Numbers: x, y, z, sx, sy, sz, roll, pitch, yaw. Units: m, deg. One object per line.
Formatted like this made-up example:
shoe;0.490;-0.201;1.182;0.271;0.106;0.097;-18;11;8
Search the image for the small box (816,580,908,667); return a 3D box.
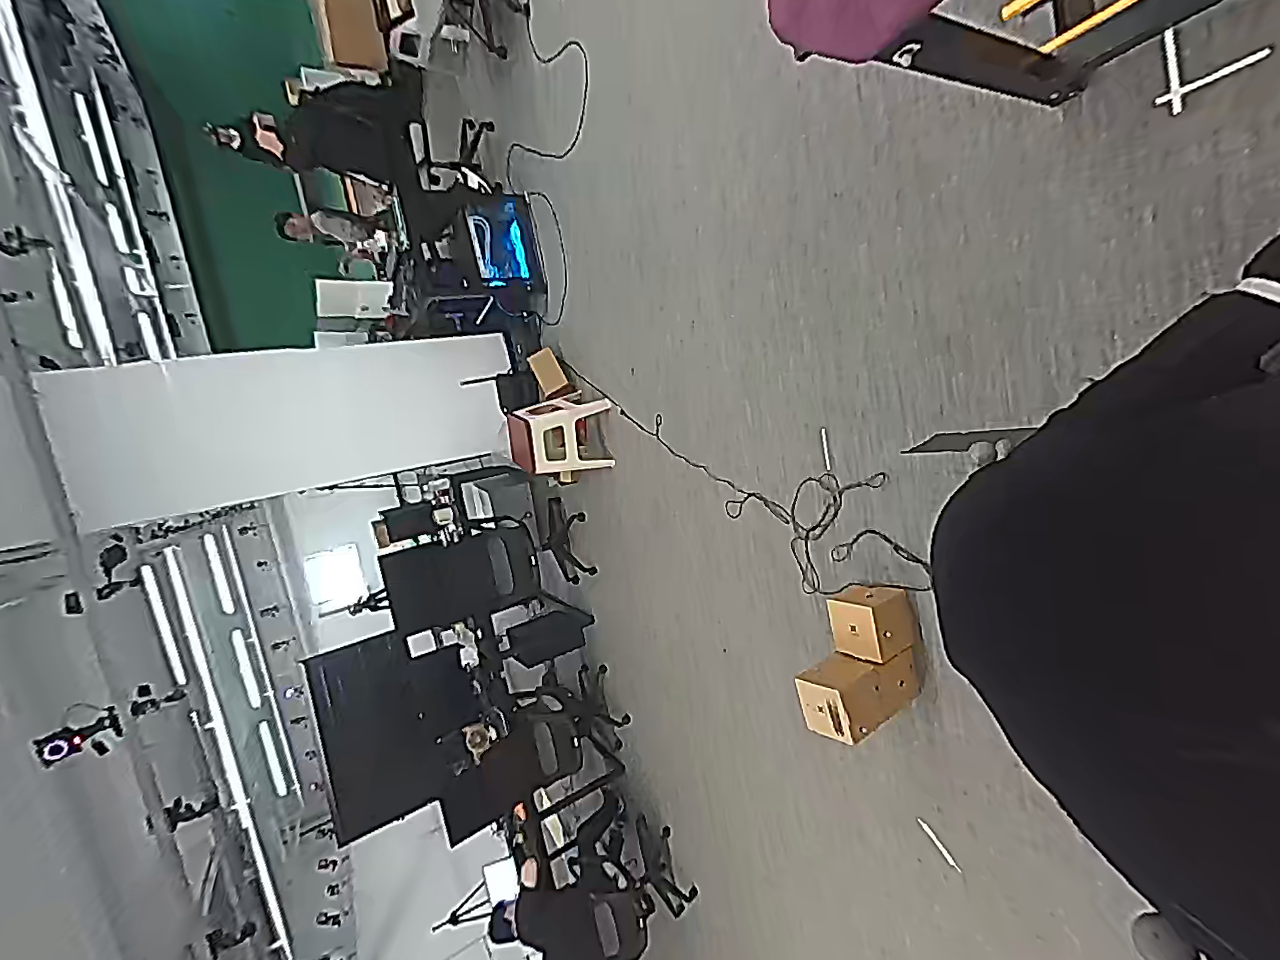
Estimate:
small box;0.661;0.427;1.618;0.179;0.176;0.168;30;115;39
